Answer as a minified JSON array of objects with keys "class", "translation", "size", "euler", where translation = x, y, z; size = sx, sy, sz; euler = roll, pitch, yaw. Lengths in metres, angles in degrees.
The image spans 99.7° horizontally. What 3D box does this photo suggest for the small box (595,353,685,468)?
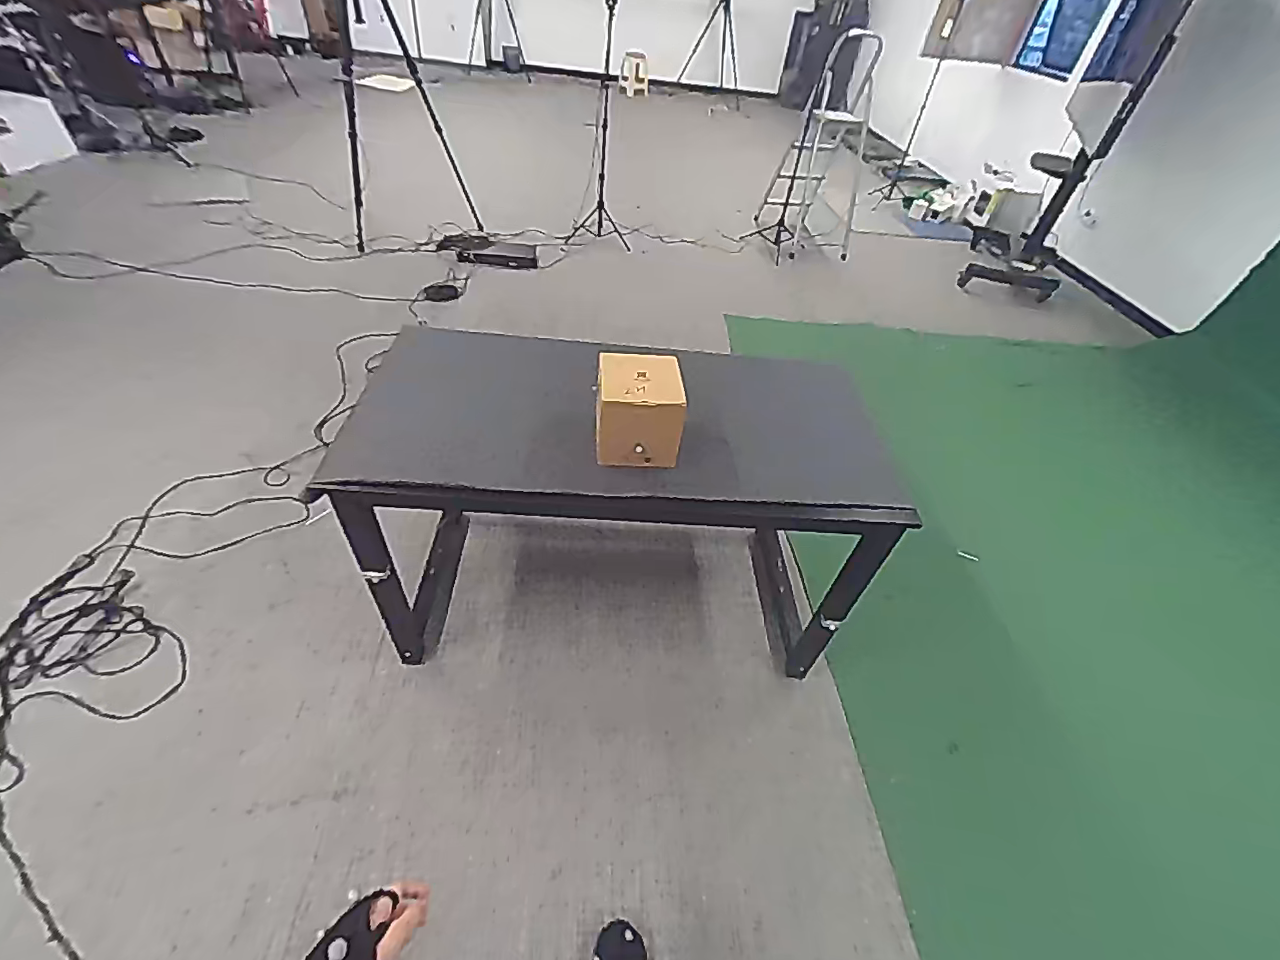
[{"class":"small box","translation":[-0.008,-0.147,1.139],"size":[0.168,0.176,0.179],"euler":[1,43,-7]}]
